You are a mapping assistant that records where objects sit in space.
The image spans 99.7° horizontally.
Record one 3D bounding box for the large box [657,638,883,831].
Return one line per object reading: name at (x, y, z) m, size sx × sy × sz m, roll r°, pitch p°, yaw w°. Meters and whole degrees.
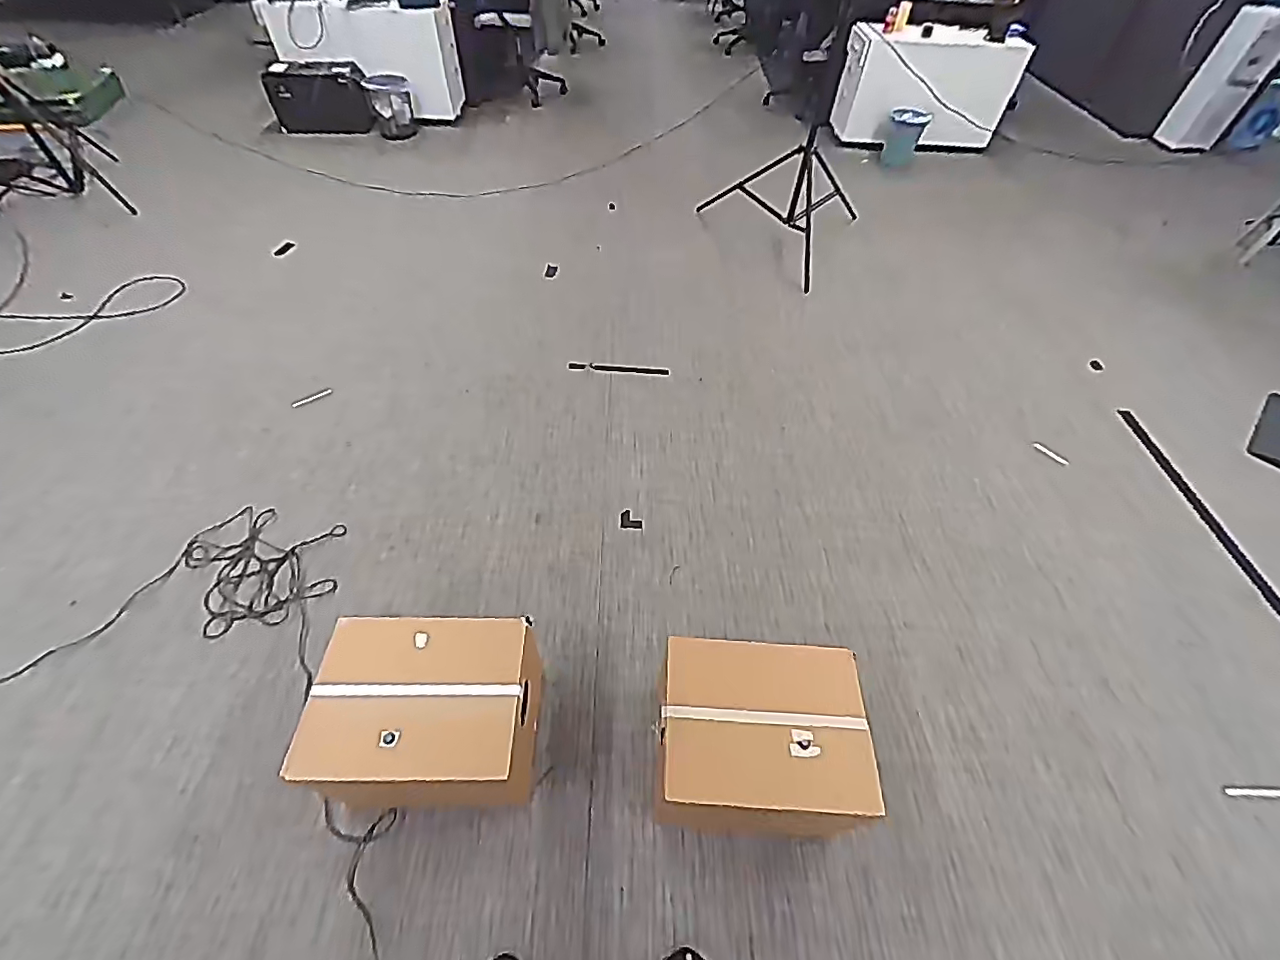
large box at (0.247, 0.568, 1.195) m, size 0.408 × 0.320 × 0.320 m, roll 5°, pitch 51°, yaw -1°
